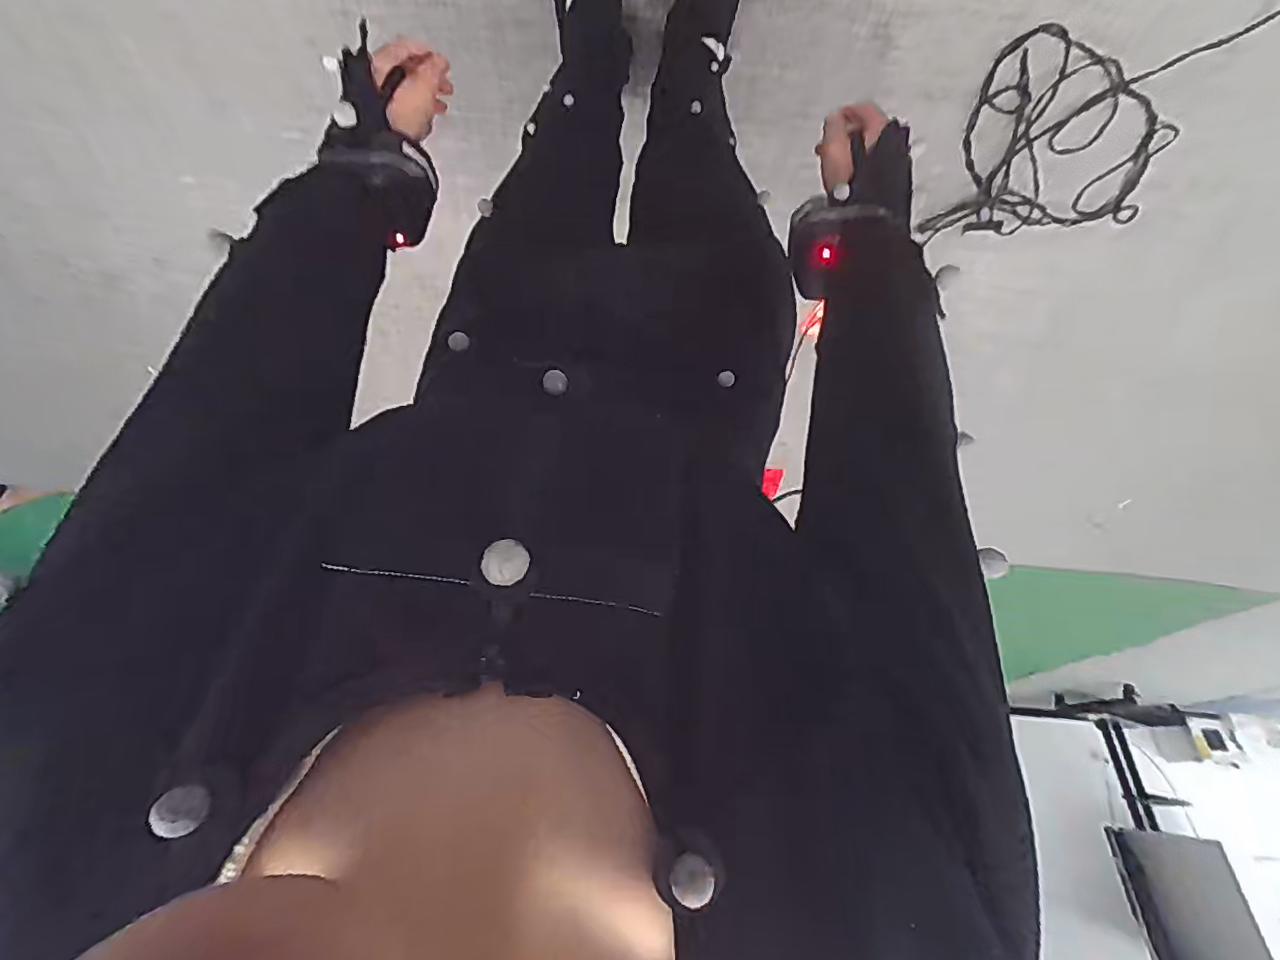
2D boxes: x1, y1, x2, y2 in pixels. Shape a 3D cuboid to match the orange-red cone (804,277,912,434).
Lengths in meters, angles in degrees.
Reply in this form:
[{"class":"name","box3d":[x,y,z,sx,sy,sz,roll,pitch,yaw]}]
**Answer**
[{"class":"orange-red cone","box3d":[0.526,-0.260,1.256,0.199,0.360,0.198,15,148,-17]}]
